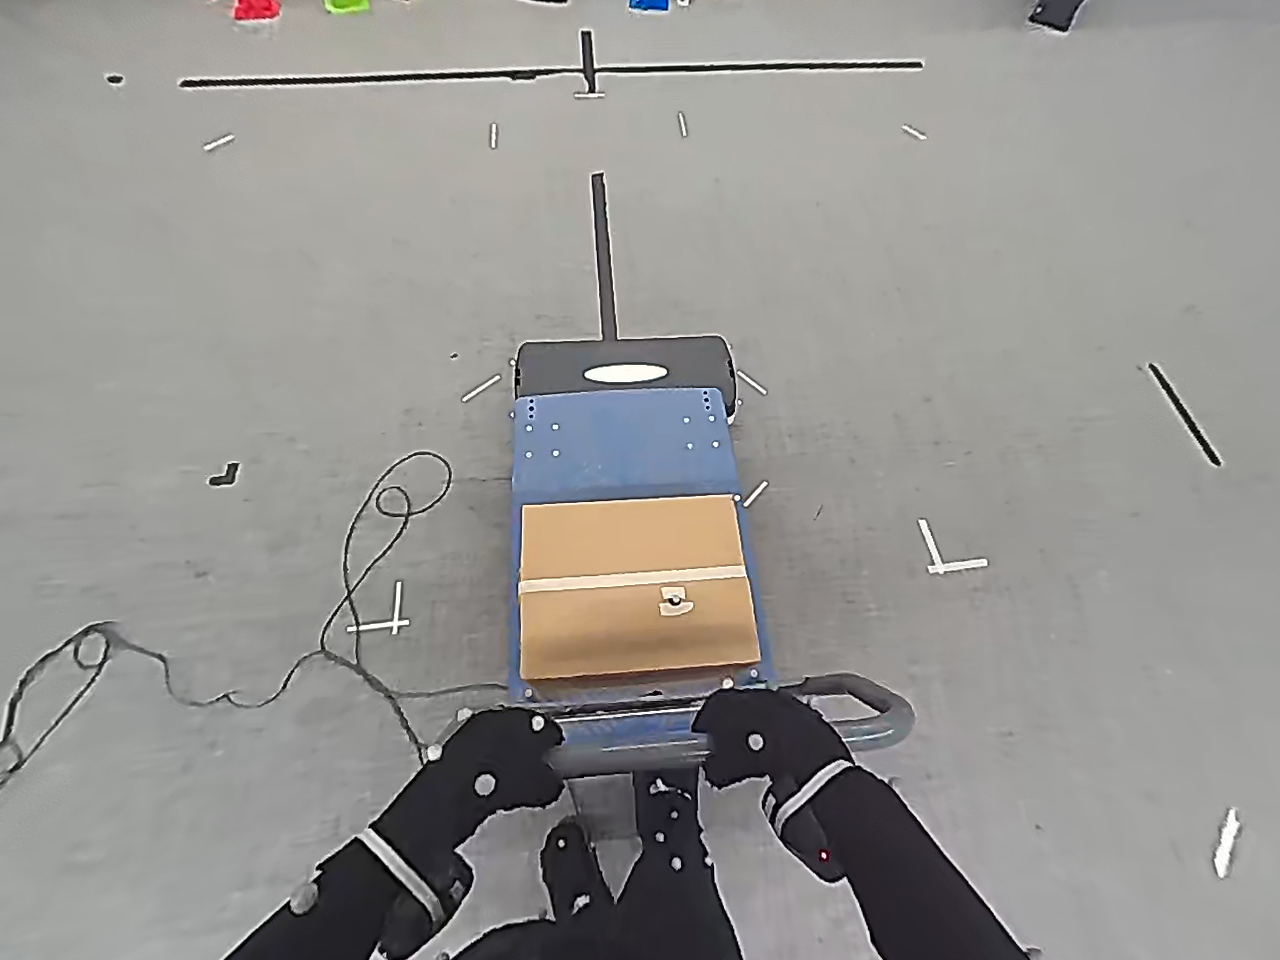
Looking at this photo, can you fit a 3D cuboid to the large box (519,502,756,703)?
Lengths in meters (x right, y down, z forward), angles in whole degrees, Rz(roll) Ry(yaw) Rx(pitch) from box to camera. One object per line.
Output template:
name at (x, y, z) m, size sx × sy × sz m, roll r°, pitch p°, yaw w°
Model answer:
large box at (-0.022, 0.256, 1.089) m, size 0.408 × 0.320 × 0.320 m, roll -3°, pitch 64°, yaw -5°
